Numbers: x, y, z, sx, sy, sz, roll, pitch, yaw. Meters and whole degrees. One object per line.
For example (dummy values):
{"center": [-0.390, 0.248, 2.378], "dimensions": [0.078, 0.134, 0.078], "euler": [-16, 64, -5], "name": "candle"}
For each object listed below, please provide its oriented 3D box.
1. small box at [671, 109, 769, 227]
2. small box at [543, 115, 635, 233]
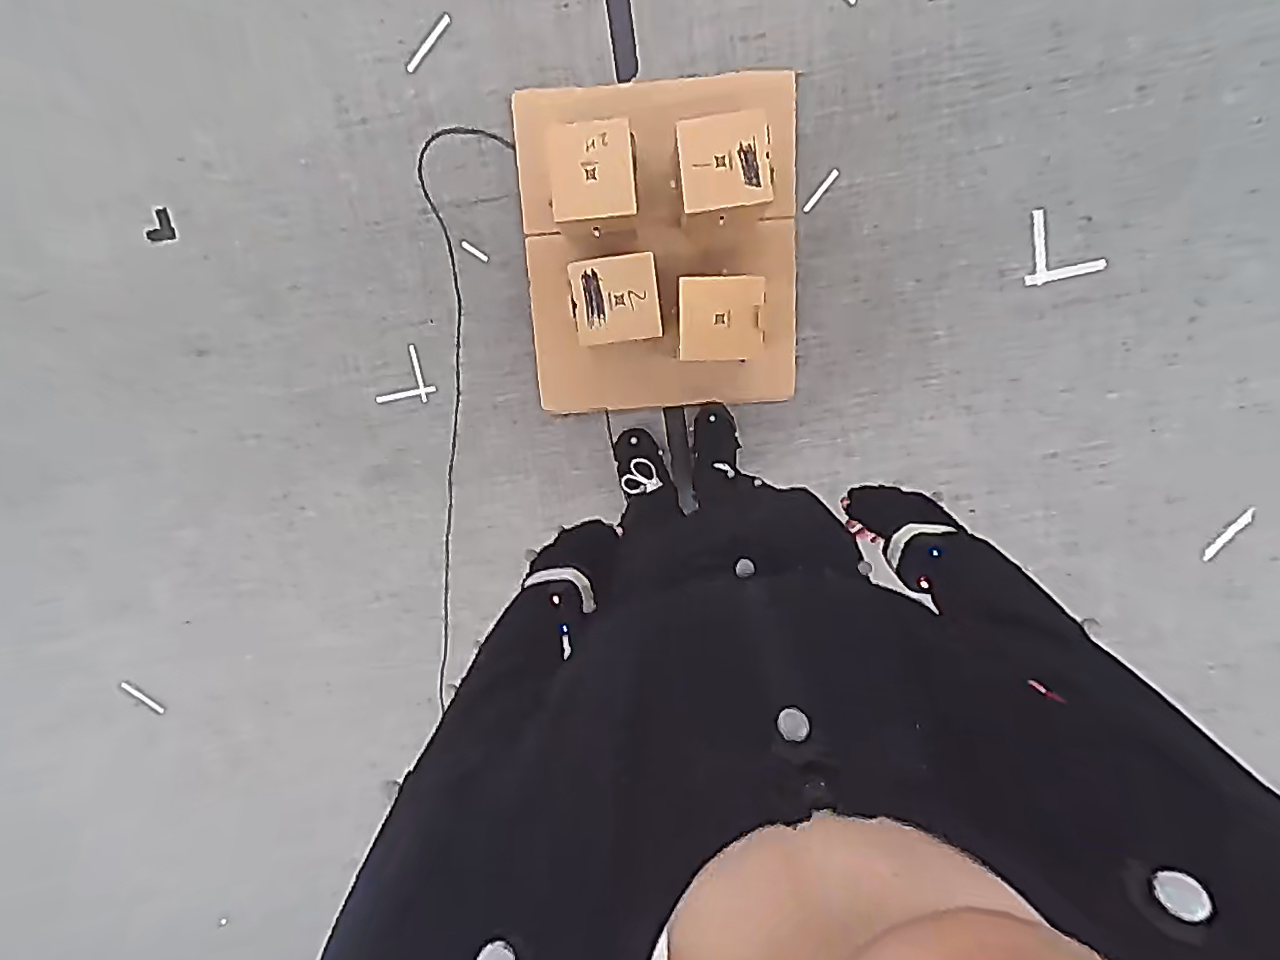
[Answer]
{"center": [0.160, -0.635, 1.118], "dimensions": [0.179, 0.176, 0.168], "euler": [-5, 104, 2], "name": "small box"}
{"center": [-0.099, -0.625, 1.126], "dimensions": [0.168, 0.176, 0.179], "euler": [-4, 103, 1], "name": "small box"}
